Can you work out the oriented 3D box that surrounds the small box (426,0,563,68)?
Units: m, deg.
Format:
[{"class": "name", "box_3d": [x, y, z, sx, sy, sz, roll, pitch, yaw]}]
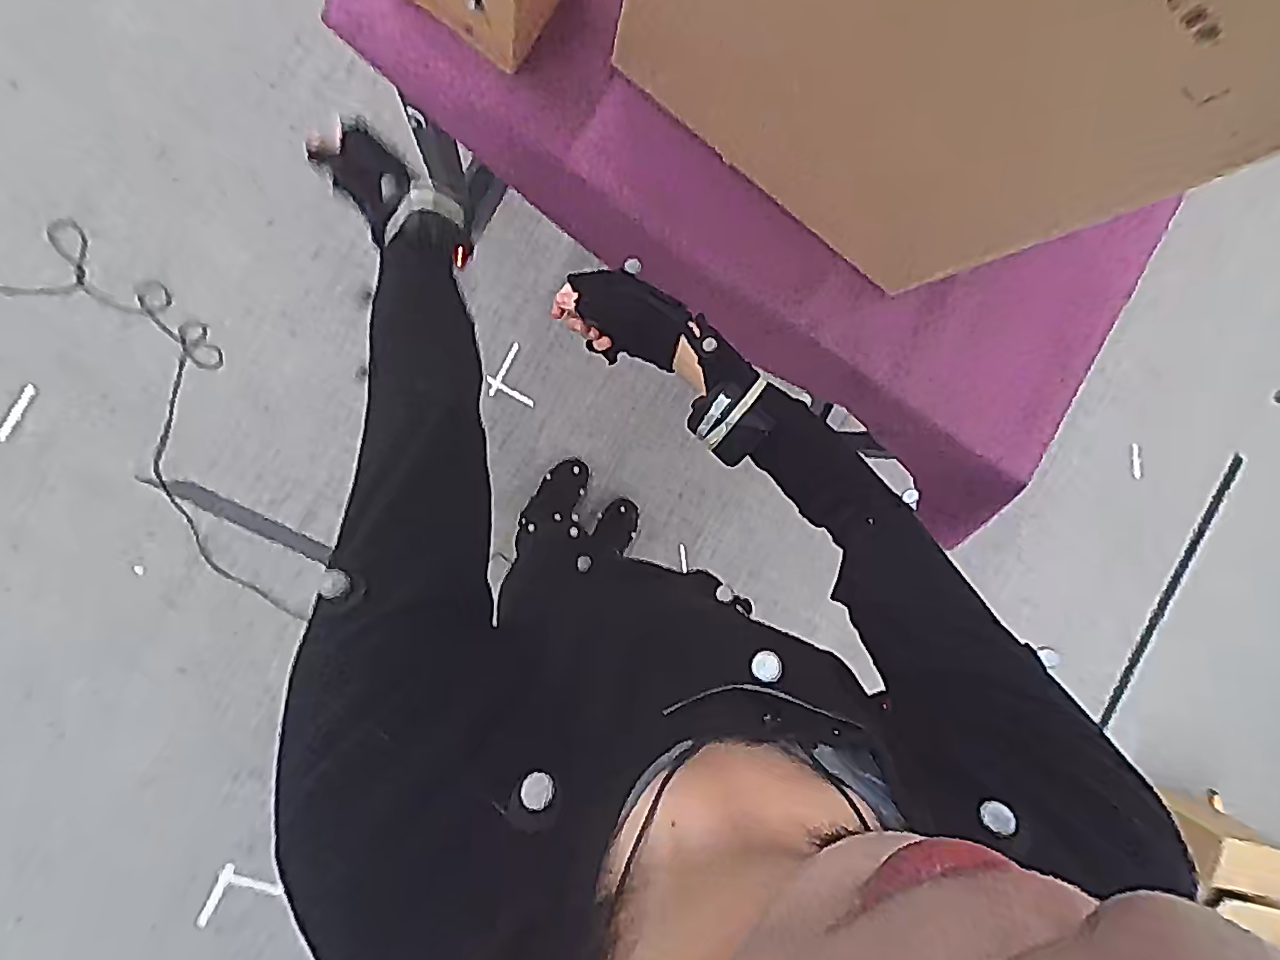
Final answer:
[{"class": "small box", "box_3d": [-0.165, -0.627, 0.605, 0.168, 0.176, 0.179, 31, 85, -16]}]
